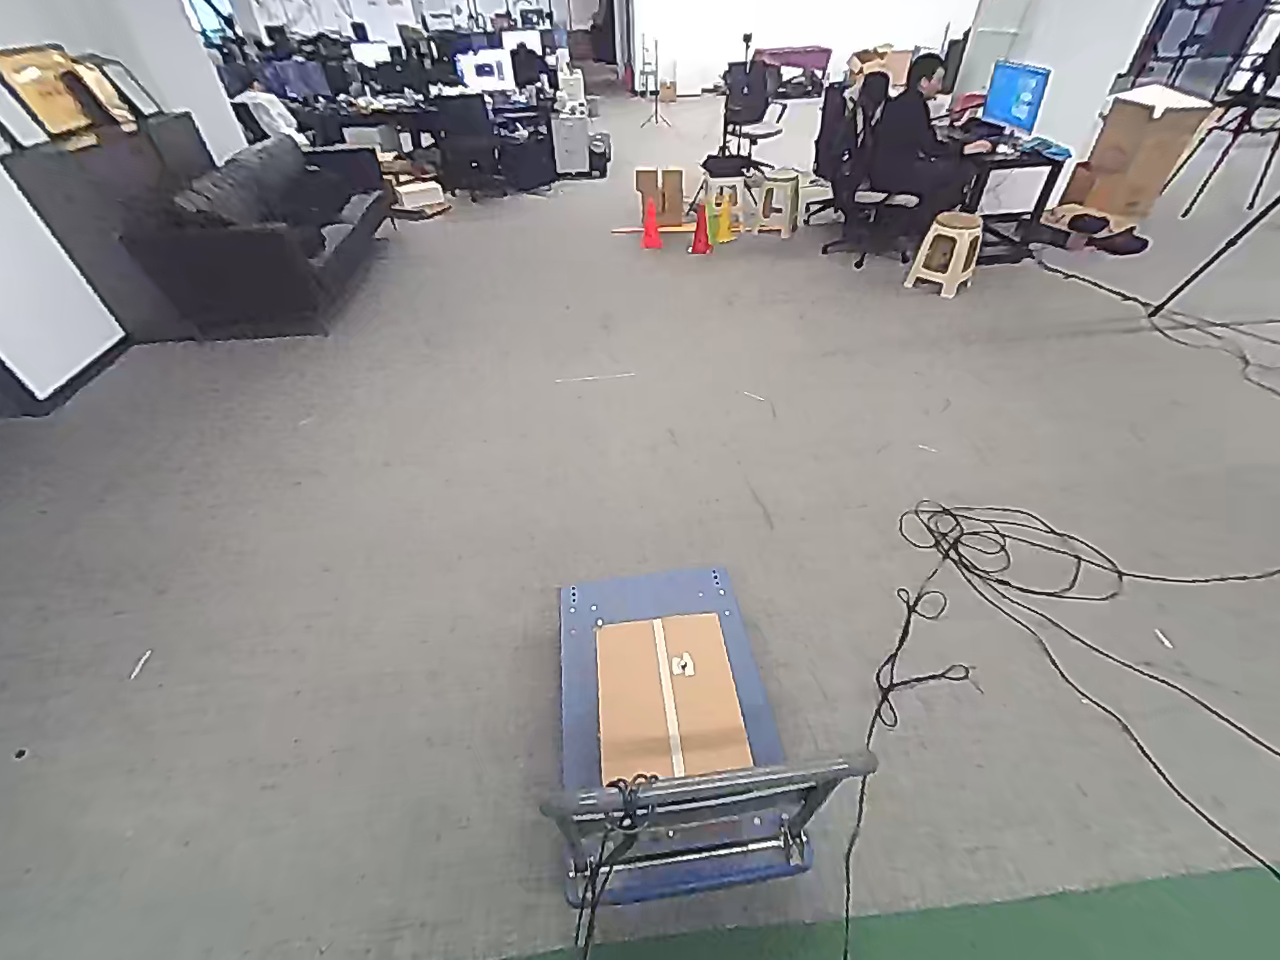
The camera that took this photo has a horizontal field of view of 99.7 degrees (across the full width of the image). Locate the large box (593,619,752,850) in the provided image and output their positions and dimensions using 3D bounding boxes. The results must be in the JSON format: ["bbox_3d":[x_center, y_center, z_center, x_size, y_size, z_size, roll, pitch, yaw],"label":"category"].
[{"bbox_3d":[0.062,0.612,1.323,0.320,0.320,0.408,-5,41,-3],"label":"large box"}]
